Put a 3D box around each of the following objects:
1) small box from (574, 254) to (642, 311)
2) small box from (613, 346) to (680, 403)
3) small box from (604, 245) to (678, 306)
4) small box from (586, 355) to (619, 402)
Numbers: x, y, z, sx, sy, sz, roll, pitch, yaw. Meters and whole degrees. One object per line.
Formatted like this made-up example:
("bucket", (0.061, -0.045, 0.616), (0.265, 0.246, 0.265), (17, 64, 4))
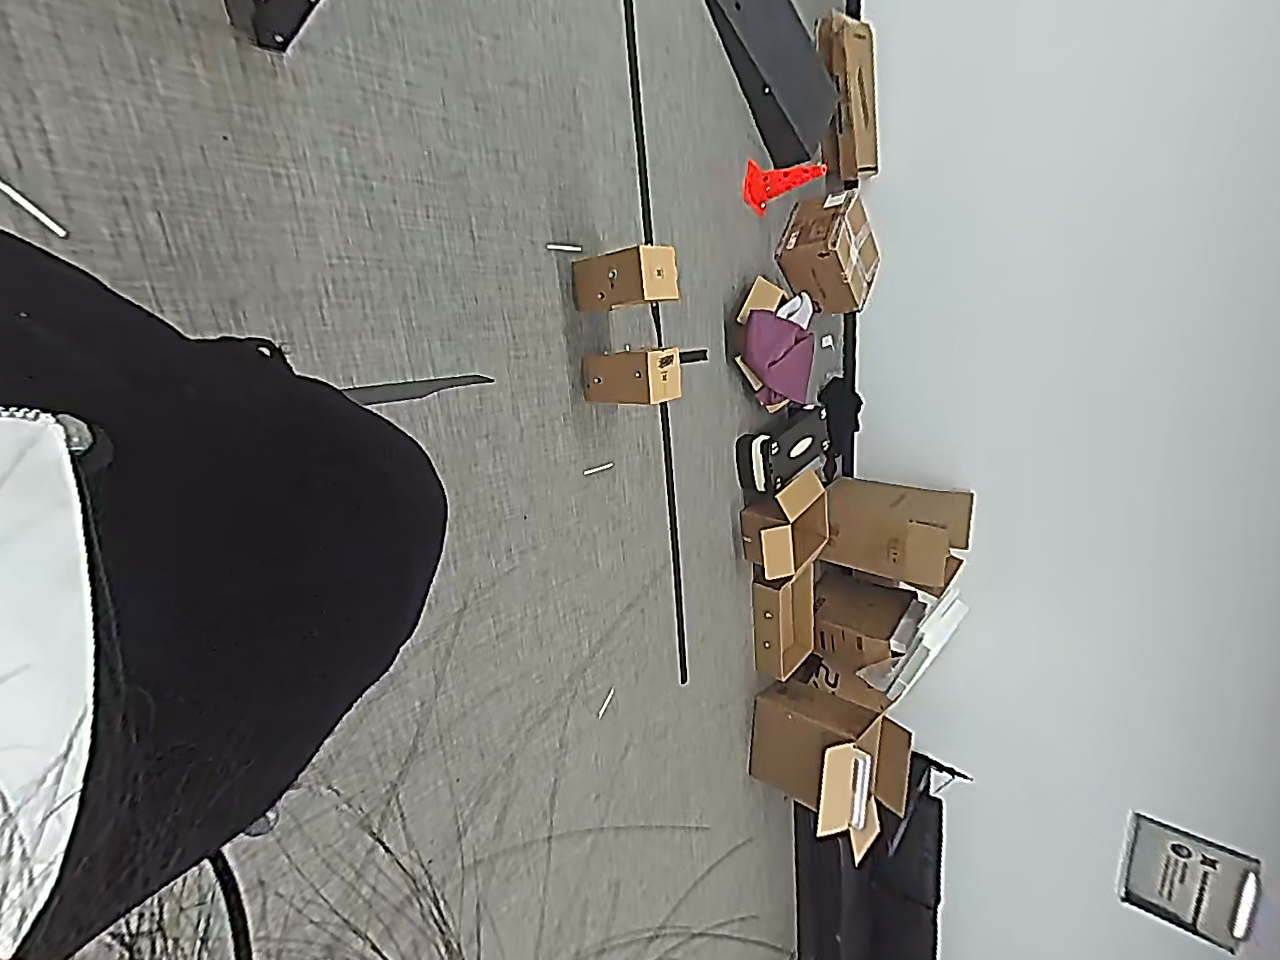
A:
("small box", (-0.113, -0.696, 1.916), (0.168, 0.176, 0.179), (-23, 113, -44))
("small box", (0.021, -0.366, 1.877), (0.168, 0.176, 0.179), (-21, 113, -44))
("small box", (0.003, -0.678, 1.803), (0.179, 0.176, 0.168), (-21, 110, -42))
("small box", (-0.089, -0.381, 2.002), (0.179, 0.176, 0.168), (-18, 110, -44))
